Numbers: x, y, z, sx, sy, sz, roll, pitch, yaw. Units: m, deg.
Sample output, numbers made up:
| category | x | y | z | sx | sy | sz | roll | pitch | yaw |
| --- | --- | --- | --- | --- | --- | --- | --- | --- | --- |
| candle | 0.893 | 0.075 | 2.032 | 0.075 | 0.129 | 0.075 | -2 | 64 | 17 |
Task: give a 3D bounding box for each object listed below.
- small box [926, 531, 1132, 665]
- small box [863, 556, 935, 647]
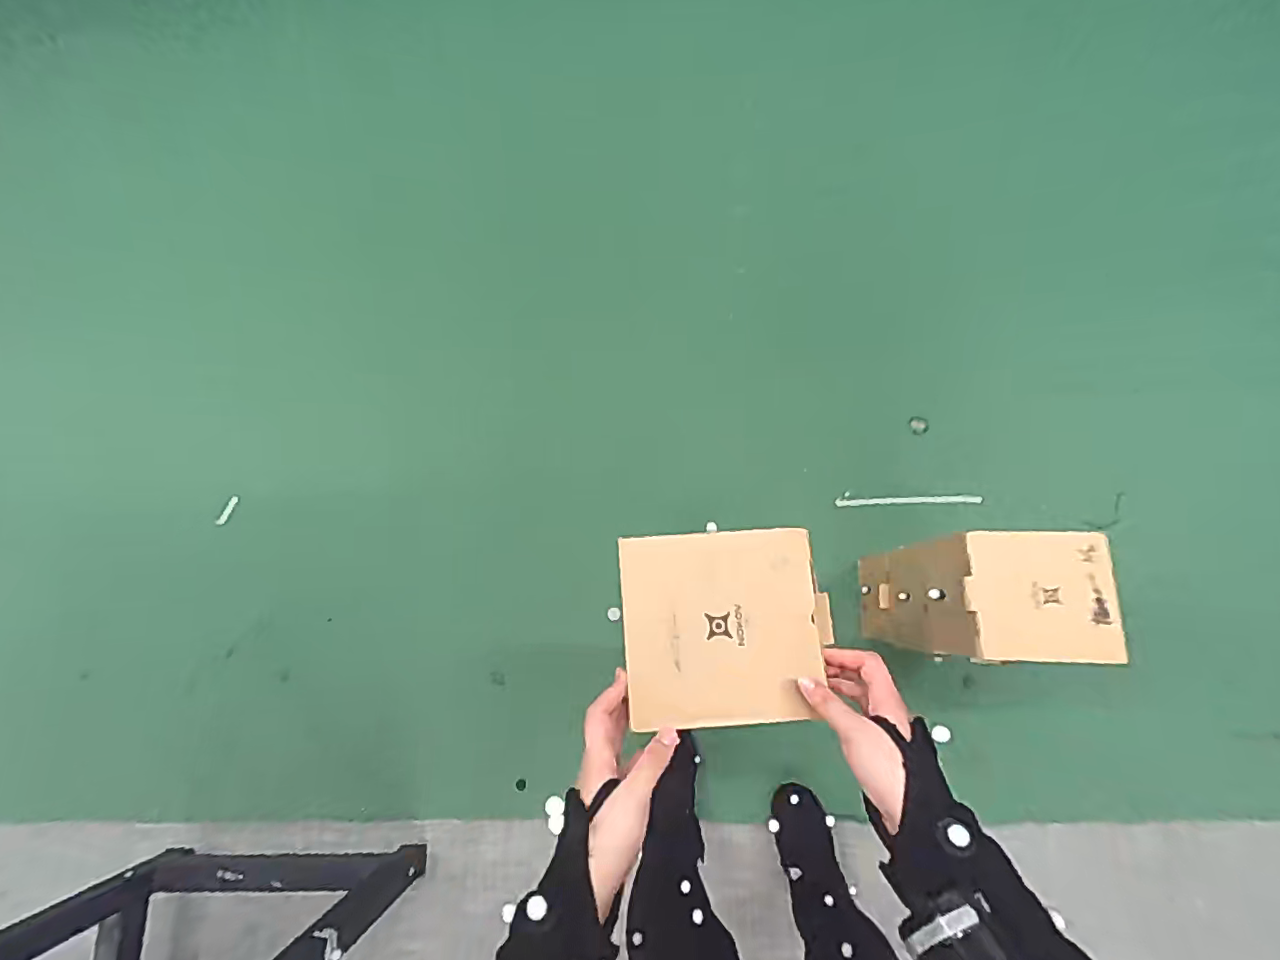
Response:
| category | x | y | z | sx | sy | sz | roll | pitch | yaw |
| --- | --- | --- | --- | --- | --- | --- | --- | --- | --- |
| small box | 0.526 | 0.166 | 0.764 | 0.179 | 0.176 | 0.168 | 0 | 77 | 6 |
| small box | 0.565 | 0.242 | 1.081 | 0.179 | 0.176 | 0.168 | 1 | 77 | 5 |
